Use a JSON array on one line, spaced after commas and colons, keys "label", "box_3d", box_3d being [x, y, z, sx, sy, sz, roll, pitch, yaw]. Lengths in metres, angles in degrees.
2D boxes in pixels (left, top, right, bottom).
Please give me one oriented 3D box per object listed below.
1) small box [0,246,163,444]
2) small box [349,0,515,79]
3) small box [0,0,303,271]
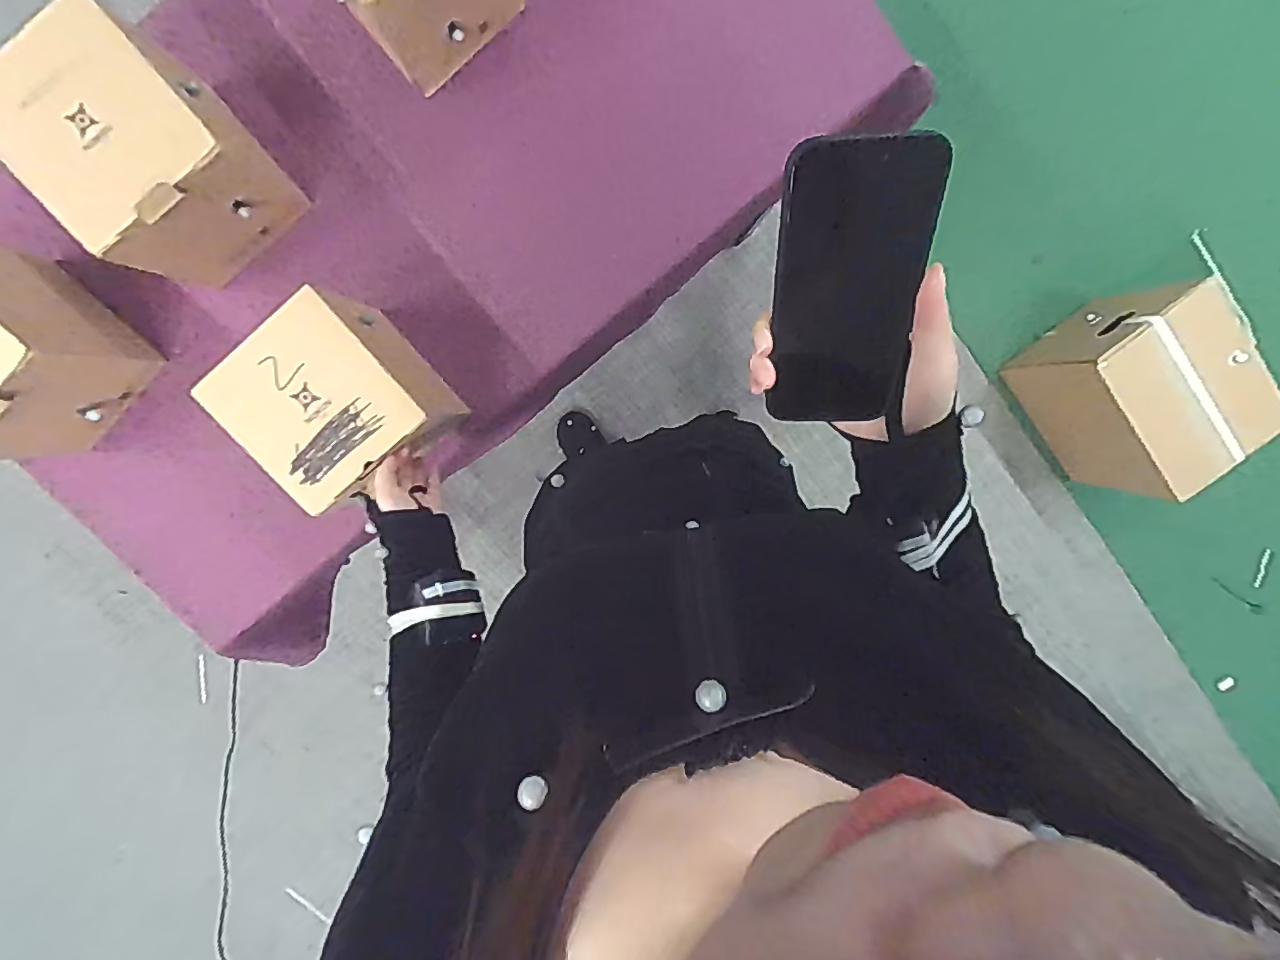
[{"label": "small box", "box_3d": [-0.714, -0.149, 0.604, 0.168, 0.176, 0.179, -44, 99, 5]}, {"label": "small box", "box_3d": [-0.252, -0.576, 0.555, 0.168, 0.176, 0.179, -41, 100, 4]}, {"label": "small box", "box_3d": [-0.517, -0.349, 0.581, 0.168, 0.176, 0.179, -39, 99, 3]}]
